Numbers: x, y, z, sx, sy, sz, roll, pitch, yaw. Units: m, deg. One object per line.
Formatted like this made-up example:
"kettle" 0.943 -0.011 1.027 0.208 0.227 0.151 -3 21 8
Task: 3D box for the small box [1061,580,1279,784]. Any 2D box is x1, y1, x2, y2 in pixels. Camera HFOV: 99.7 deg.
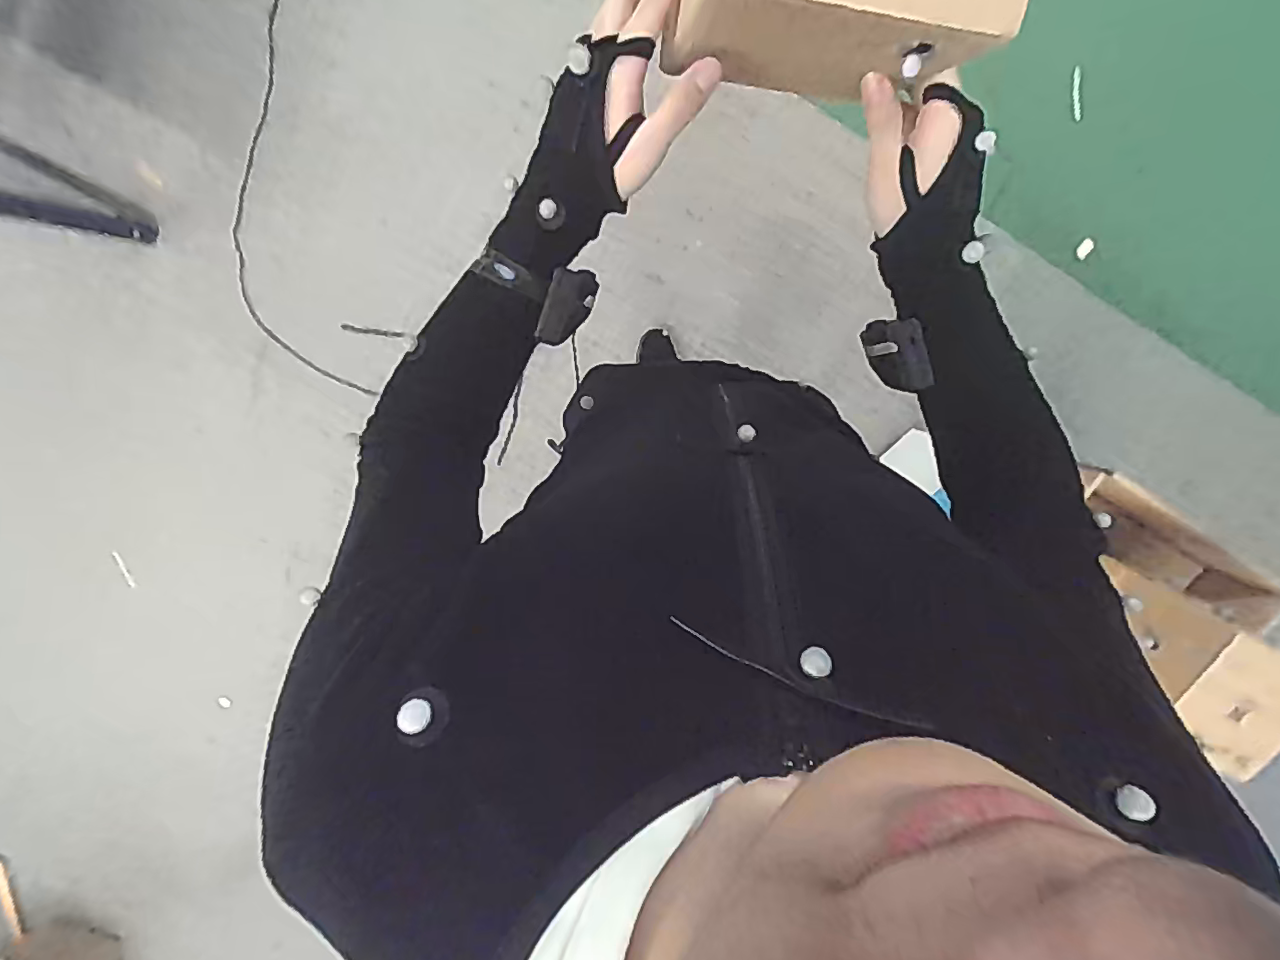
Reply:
"small box" 0.750 0.267 0.752 0.168 0.176 0.179 26 104 -5

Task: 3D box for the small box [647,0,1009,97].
"small box" 0.104 -0.348 0.317 0.179 0.176 0.168 1 114 -9
